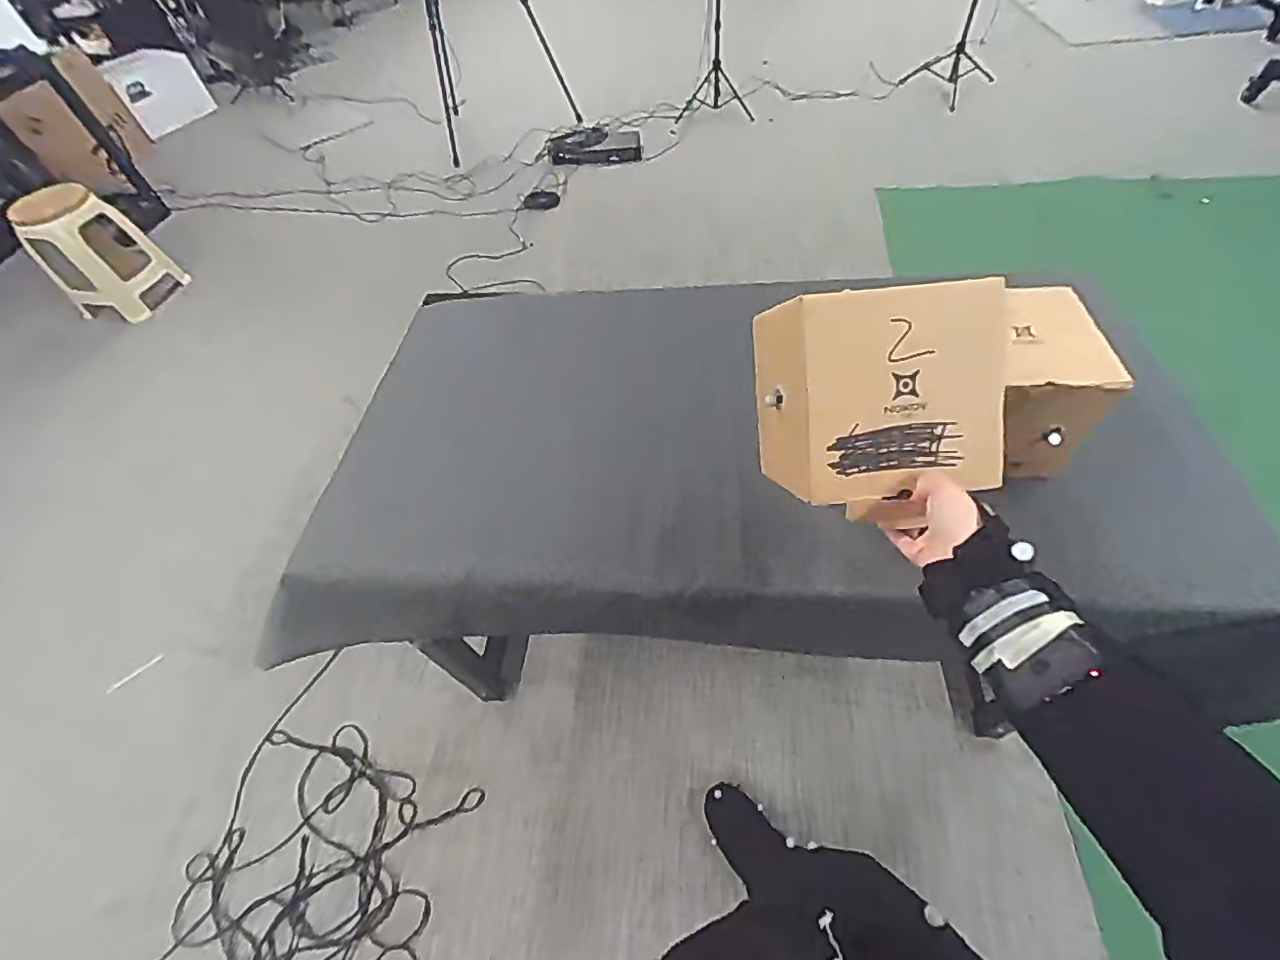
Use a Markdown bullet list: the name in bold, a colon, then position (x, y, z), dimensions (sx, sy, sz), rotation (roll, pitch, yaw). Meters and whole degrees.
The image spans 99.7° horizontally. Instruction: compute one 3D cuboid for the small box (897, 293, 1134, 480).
- **small box**: position (0.451, -0.114, 0.688), dimensions (0.168, 0.176, 0.179), rotation (0, 52, 5)
